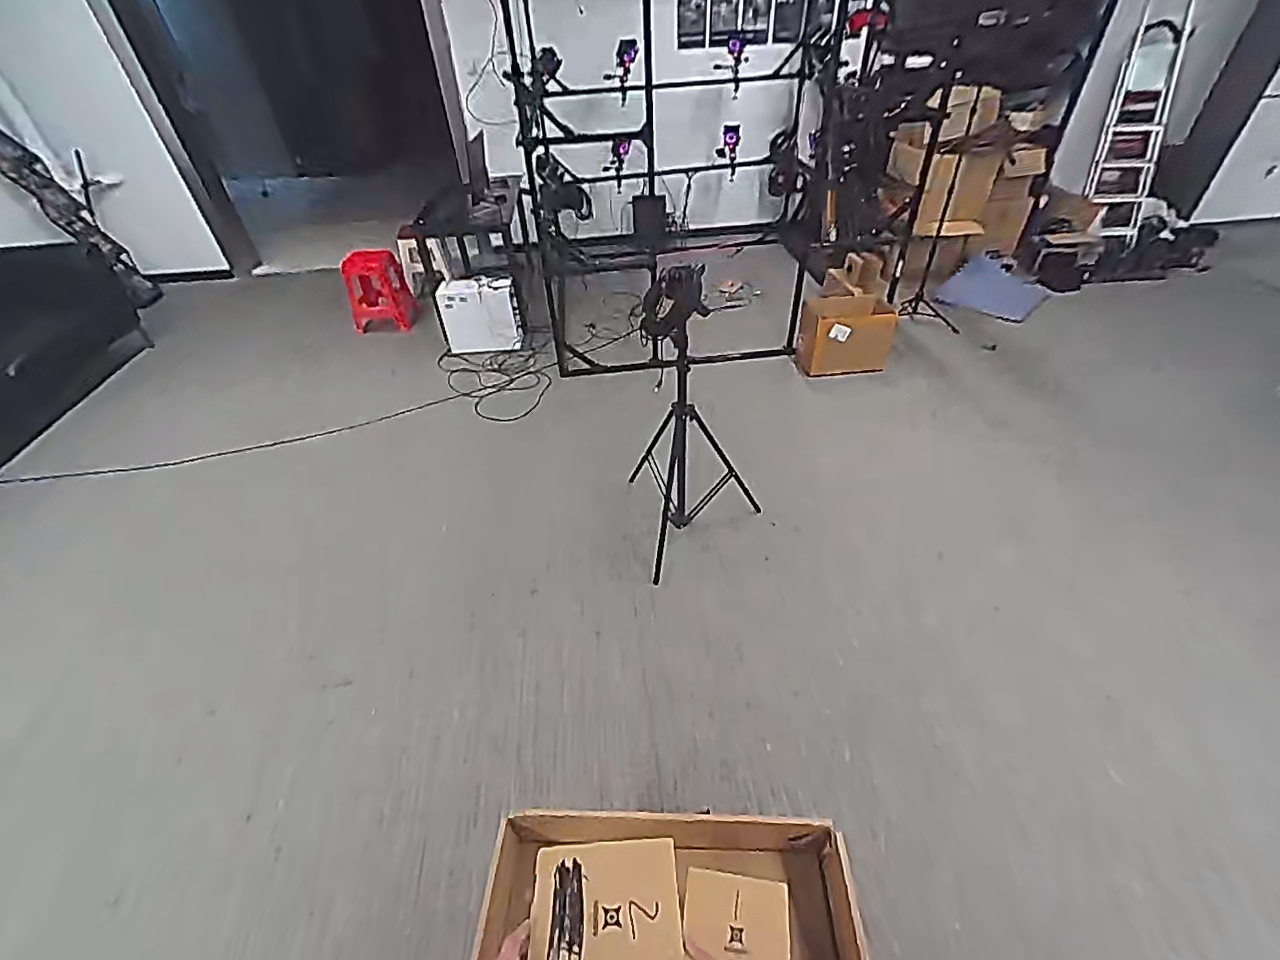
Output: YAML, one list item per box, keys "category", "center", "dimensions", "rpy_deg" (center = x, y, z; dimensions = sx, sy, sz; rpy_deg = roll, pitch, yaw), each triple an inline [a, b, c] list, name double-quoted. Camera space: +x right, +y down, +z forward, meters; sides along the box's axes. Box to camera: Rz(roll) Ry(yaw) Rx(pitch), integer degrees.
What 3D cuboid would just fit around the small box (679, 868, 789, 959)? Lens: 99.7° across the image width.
- category: "small box"
  center: [0.150, 0.769, 0.875]
  dimensions: [0.168, 0.176, 0.179]
  rpy_deg: [4, 40, 9]
